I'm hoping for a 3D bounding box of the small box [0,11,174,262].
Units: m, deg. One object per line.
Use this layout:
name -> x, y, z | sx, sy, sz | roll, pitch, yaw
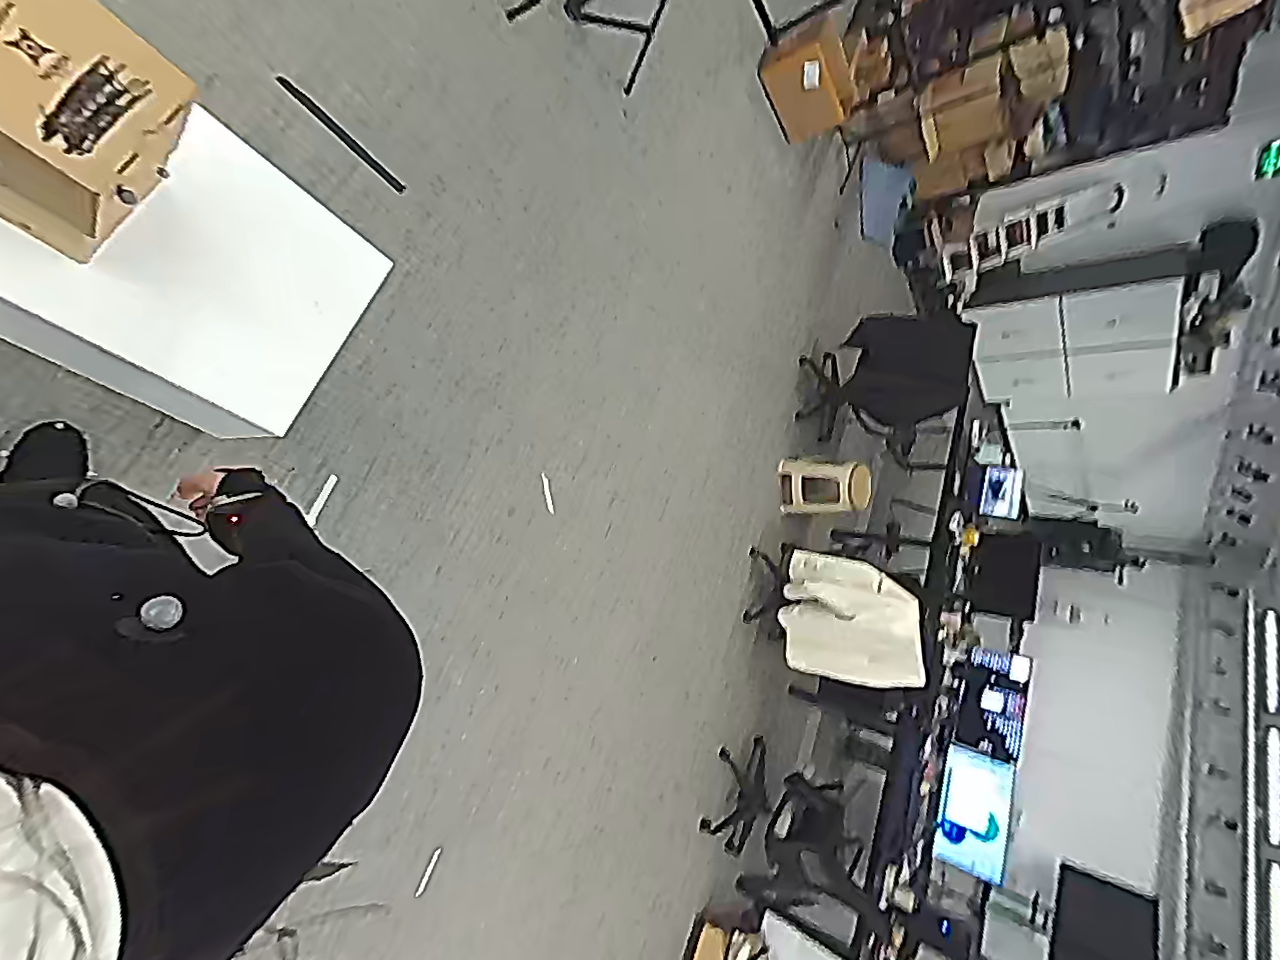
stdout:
small box -> -0.731, -0.403, 0.668 | 0.168, 0.176, 0.179 | 39, 64, -42
